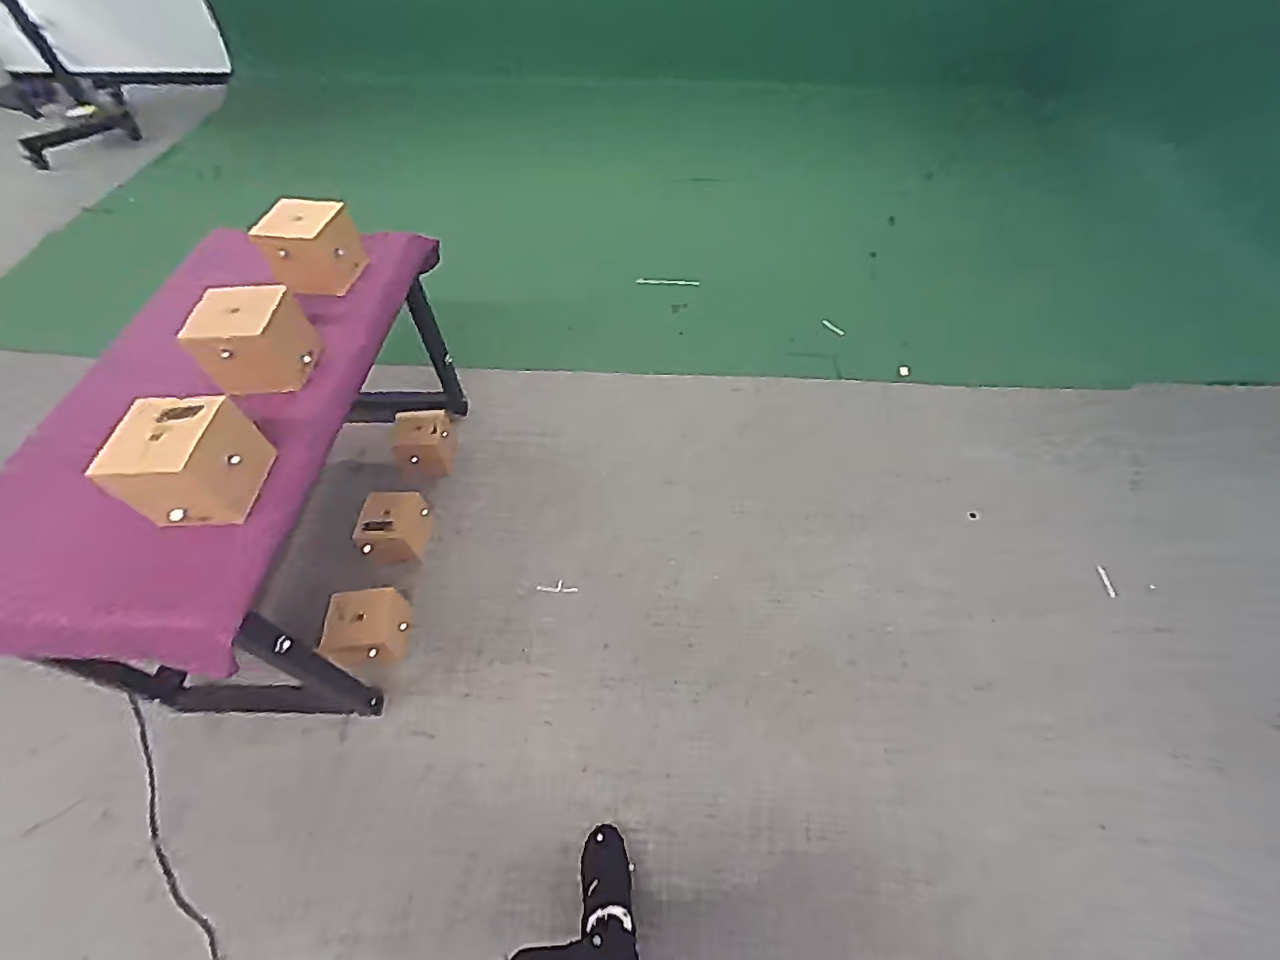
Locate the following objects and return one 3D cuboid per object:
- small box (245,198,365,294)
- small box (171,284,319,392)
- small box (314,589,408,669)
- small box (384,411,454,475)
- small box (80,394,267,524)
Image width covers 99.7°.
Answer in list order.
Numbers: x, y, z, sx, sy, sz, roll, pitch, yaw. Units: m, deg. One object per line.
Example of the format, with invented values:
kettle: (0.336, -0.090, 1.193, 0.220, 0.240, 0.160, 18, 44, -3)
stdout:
small box: (-0.856, -0.604, 1.405, 0.179, 0.176, 0.168, 6, 55, 6)
small box: (-0.853, -0.308, 1.189, 0.179, 0.176, 0.168, -2, 55, -1)
small box: (-0.788, 0.429, 1.550, 0.179, 0.176, 0.168, -5, 54, -4)
small box: (-0.793, -0.131, 1.957, 0.179, 0.176, 0.168, -4, 54, -2)
small box: (-0.828, -0.036, 0.988, 0.168, 0.176, 0.179, -2, 54, 1)
